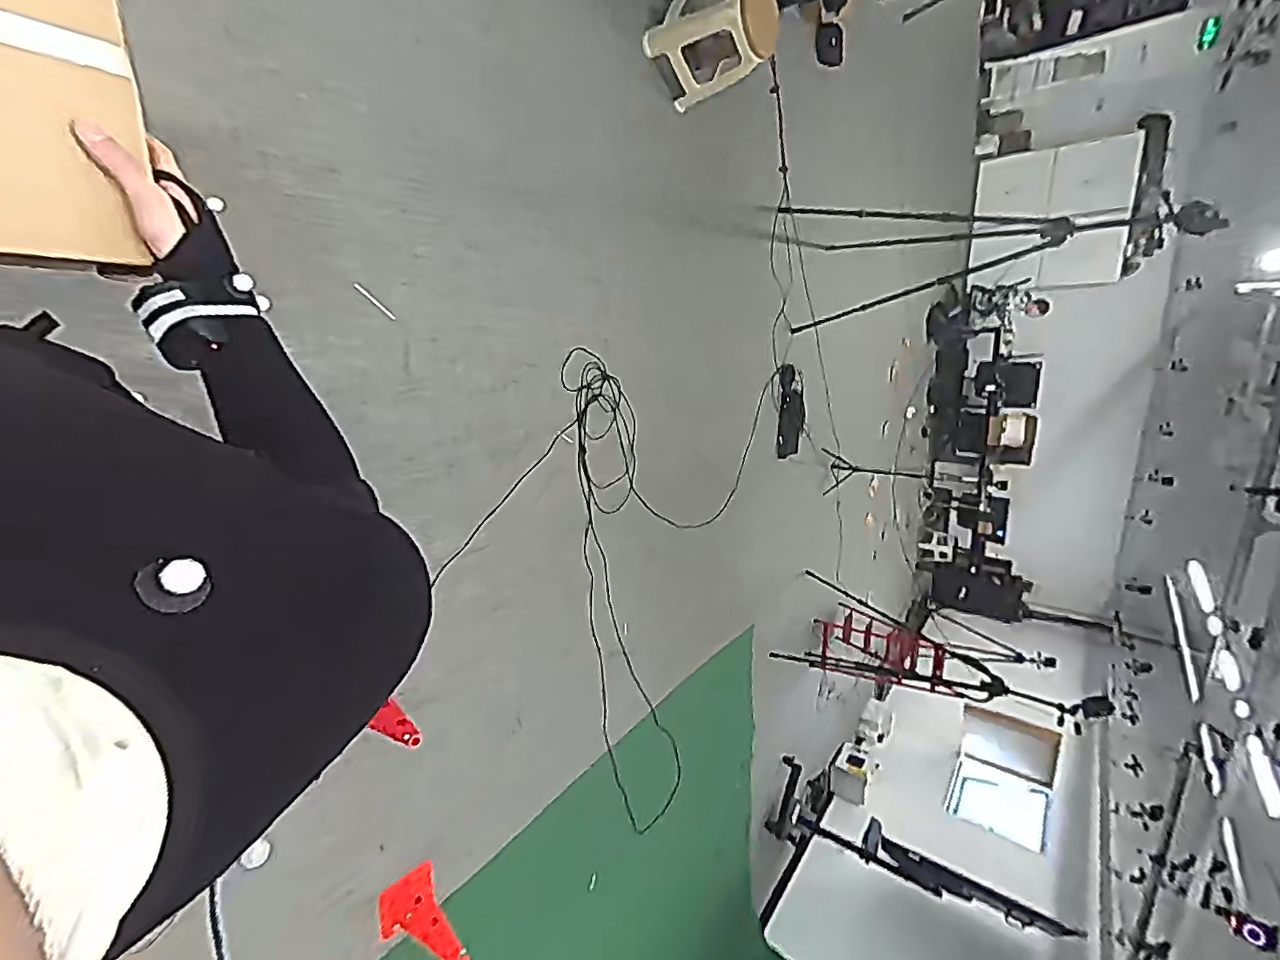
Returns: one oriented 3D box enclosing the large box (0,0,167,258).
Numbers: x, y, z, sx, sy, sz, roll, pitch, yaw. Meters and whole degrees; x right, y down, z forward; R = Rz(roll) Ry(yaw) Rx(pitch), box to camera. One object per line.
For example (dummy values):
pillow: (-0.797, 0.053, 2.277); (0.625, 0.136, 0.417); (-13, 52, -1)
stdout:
large box: (-0.670, -0.351, 0.397); (0.408, 0.320, 0.320); (-16, 117, -49)

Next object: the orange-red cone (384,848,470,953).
orange-red cone: (-0.710, 1.510, 1.886); (0.199, 0.360, 0.198); (-12, 108, -52)
